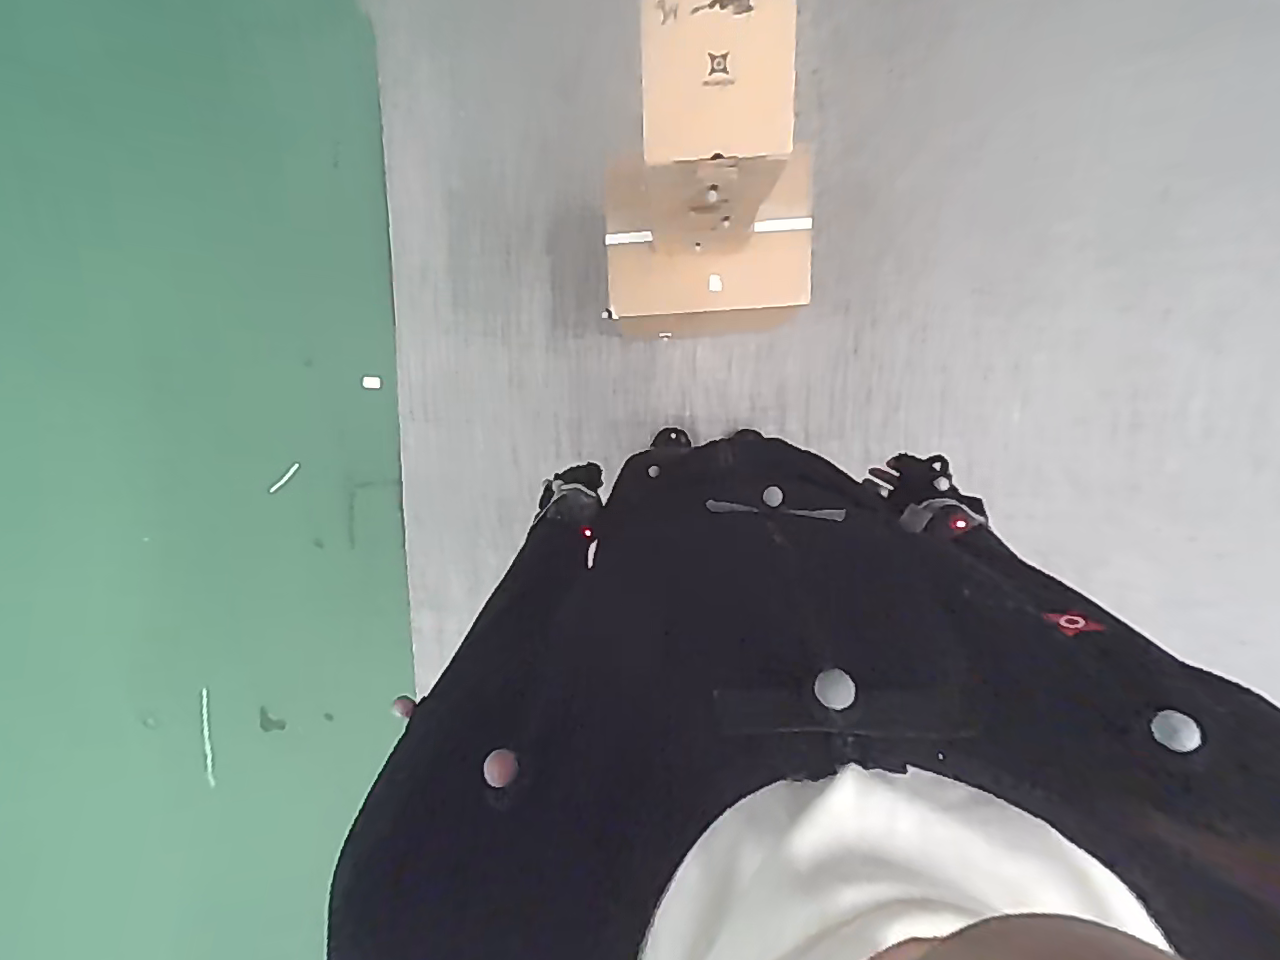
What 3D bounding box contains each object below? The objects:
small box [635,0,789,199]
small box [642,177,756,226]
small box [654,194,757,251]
[{"bbox_3d":[0.083,-0.460,0.667,0.168,0.176,0.179,-1,103,4],"label":"small box"},{"bbox_3d":[0.090,-0.497,0.826,0.168,0.176,0.179,0,101,4],"label":"small box"},{"bbox_3d":[0.112,-0.523,0.985,0.179,0.176,0.168,-3,102,5],"label":"small box"}]
